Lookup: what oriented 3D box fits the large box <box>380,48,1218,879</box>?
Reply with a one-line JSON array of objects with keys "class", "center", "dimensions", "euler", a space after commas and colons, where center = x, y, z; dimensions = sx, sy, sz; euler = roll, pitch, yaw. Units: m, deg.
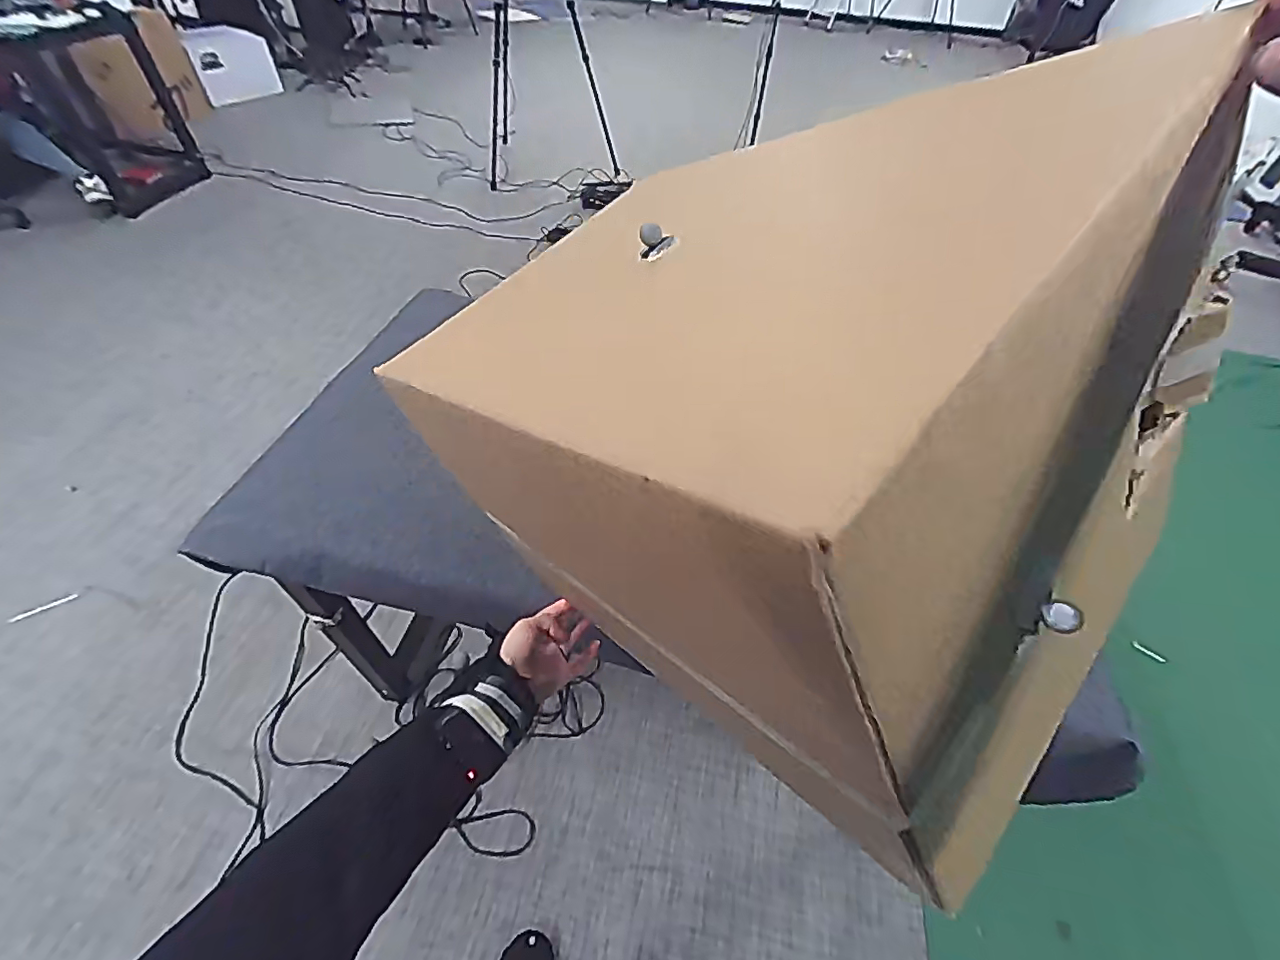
[{"class": "large box", "center": [0.081, -0.023, 0.404], "dimensions": [0.320, 0.320, 0.408], "euler": [-45, 38, -20]}]
